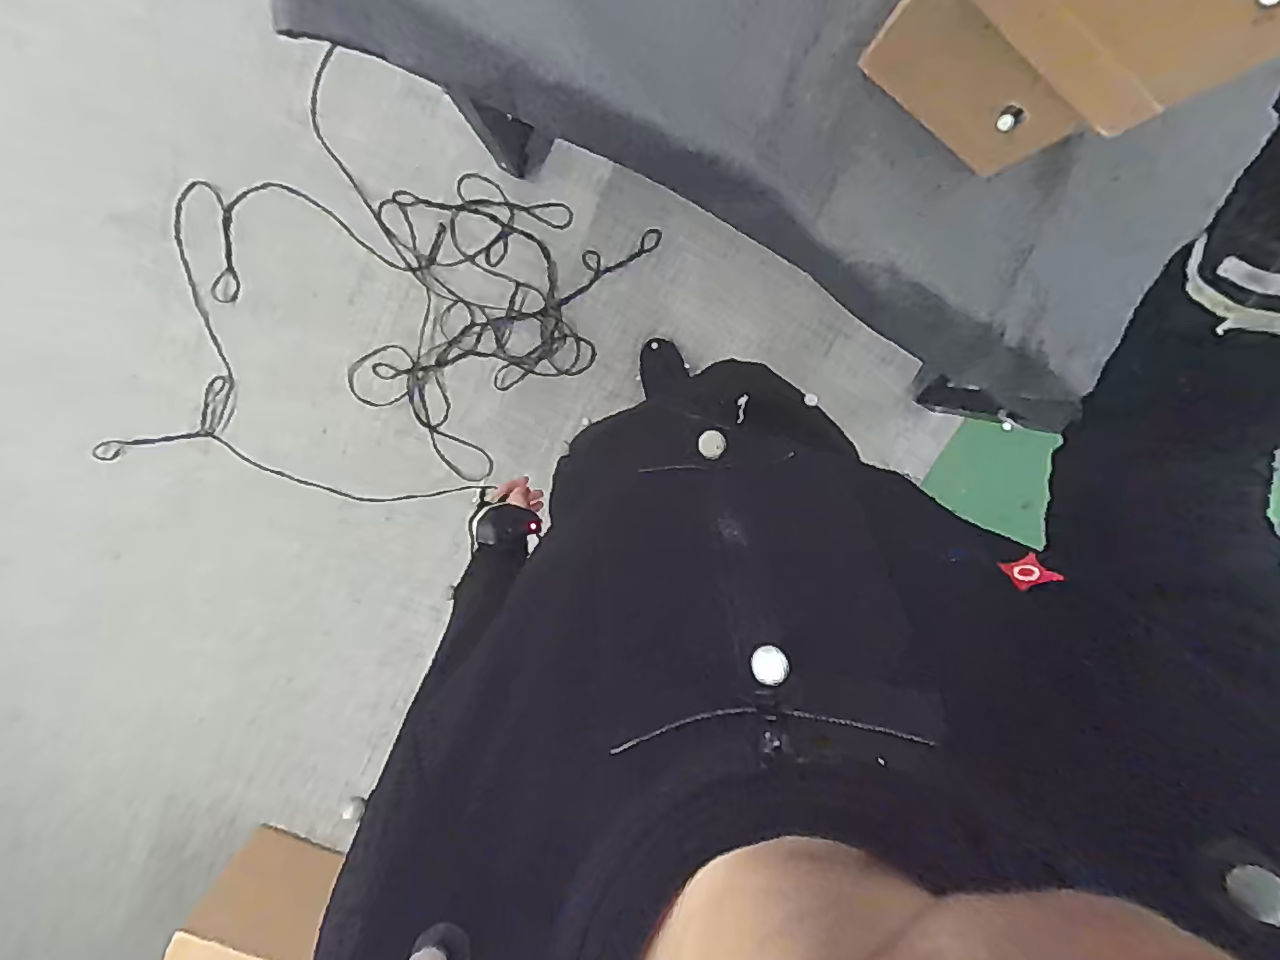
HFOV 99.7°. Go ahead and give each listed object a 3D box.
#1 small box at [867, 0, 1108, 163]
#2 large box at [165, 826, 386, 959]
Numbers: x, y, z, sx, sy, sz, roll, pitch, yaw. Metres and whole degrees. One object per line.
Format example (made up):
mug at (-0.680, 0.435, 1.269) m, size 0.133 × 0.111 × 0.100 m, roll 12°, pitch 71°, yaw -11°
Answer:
small box at (0.333, -0.401, 0.449) m, size 0.179 × 0.176 × 0.168 m, roll 34°, pitch 99°, yaw -7°
large box at (-1.000, 1.258, 1.495) m, size 0.408 × 0.320 × 0.320 m, roll 26°, pitch 101°, yaw -6°
